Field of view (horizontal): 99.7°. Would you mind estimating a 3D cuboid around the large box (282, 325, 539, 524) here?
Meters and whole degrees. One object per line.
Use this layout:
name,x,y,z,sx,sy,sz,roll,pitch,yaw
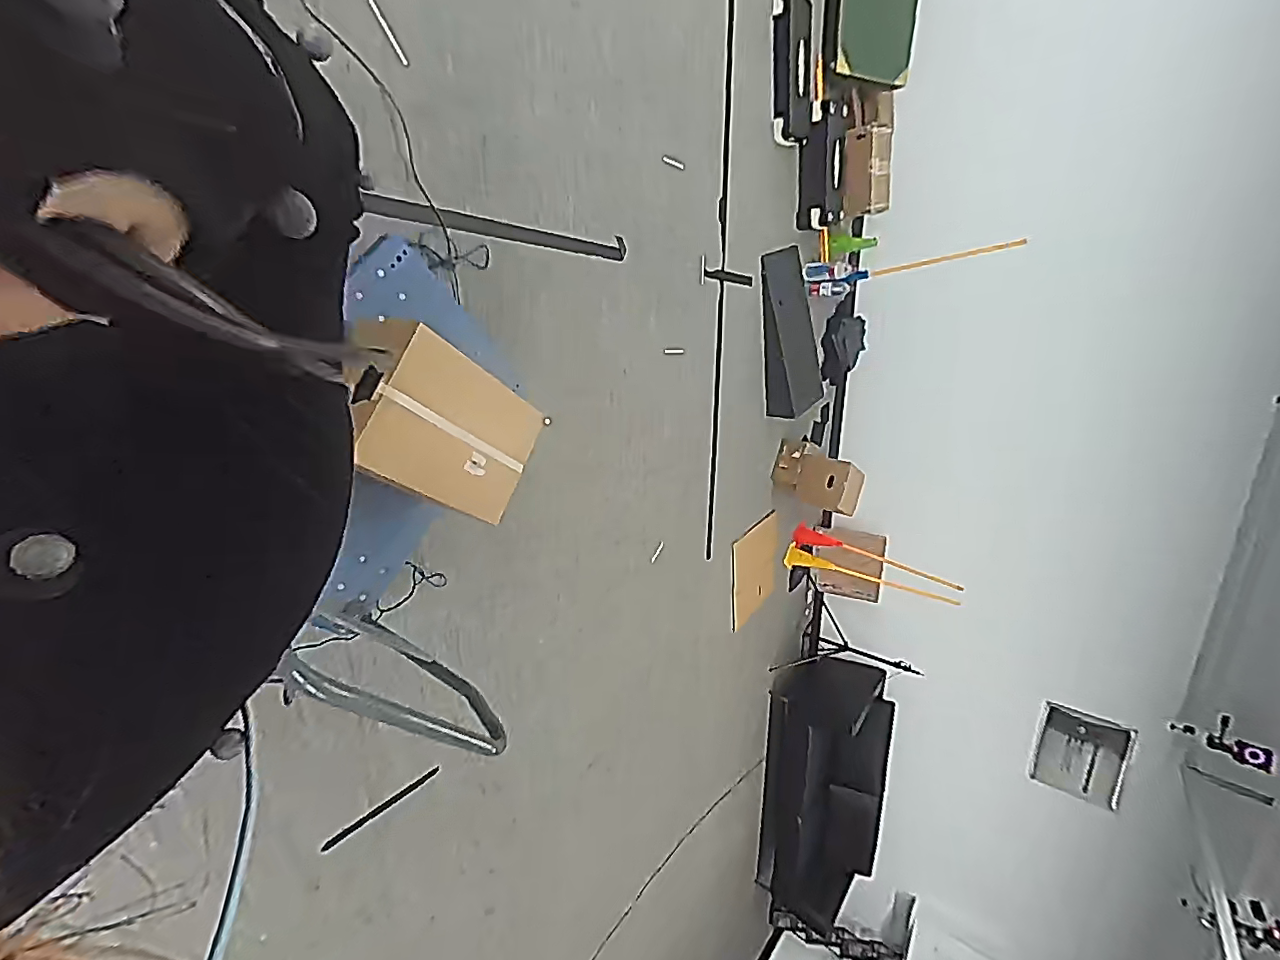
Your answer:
large box,-0.526,-0.127,1.286,0.408,0.320,0.320,38,70,-51
